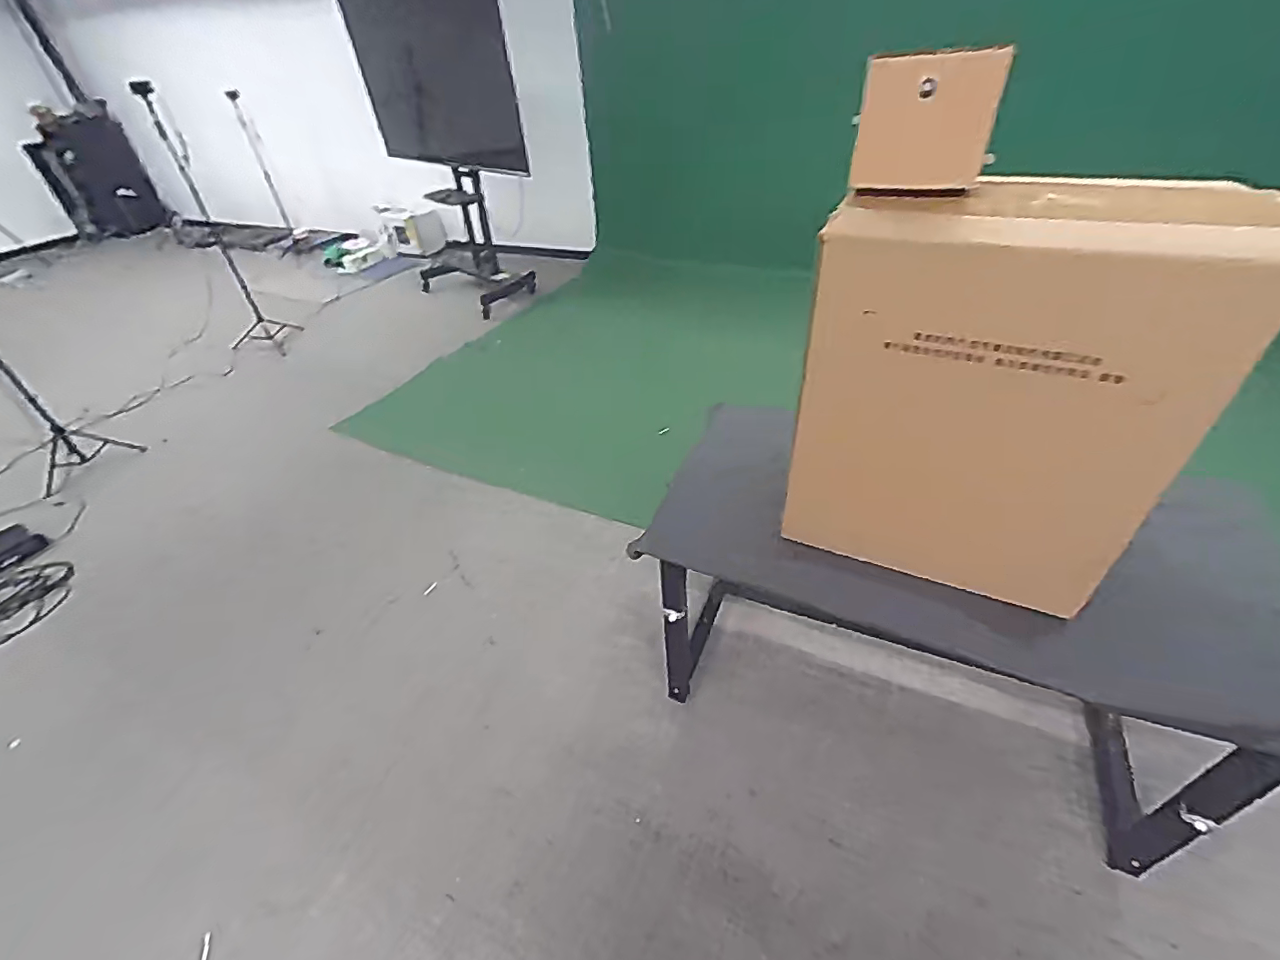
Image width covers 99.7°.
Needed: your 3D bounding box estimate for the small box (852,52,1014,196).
[{"bbox_3d":[0.438,-0.537,0.829,0.179,0.176,0.168,15,36,20],"label":"small box"}]
